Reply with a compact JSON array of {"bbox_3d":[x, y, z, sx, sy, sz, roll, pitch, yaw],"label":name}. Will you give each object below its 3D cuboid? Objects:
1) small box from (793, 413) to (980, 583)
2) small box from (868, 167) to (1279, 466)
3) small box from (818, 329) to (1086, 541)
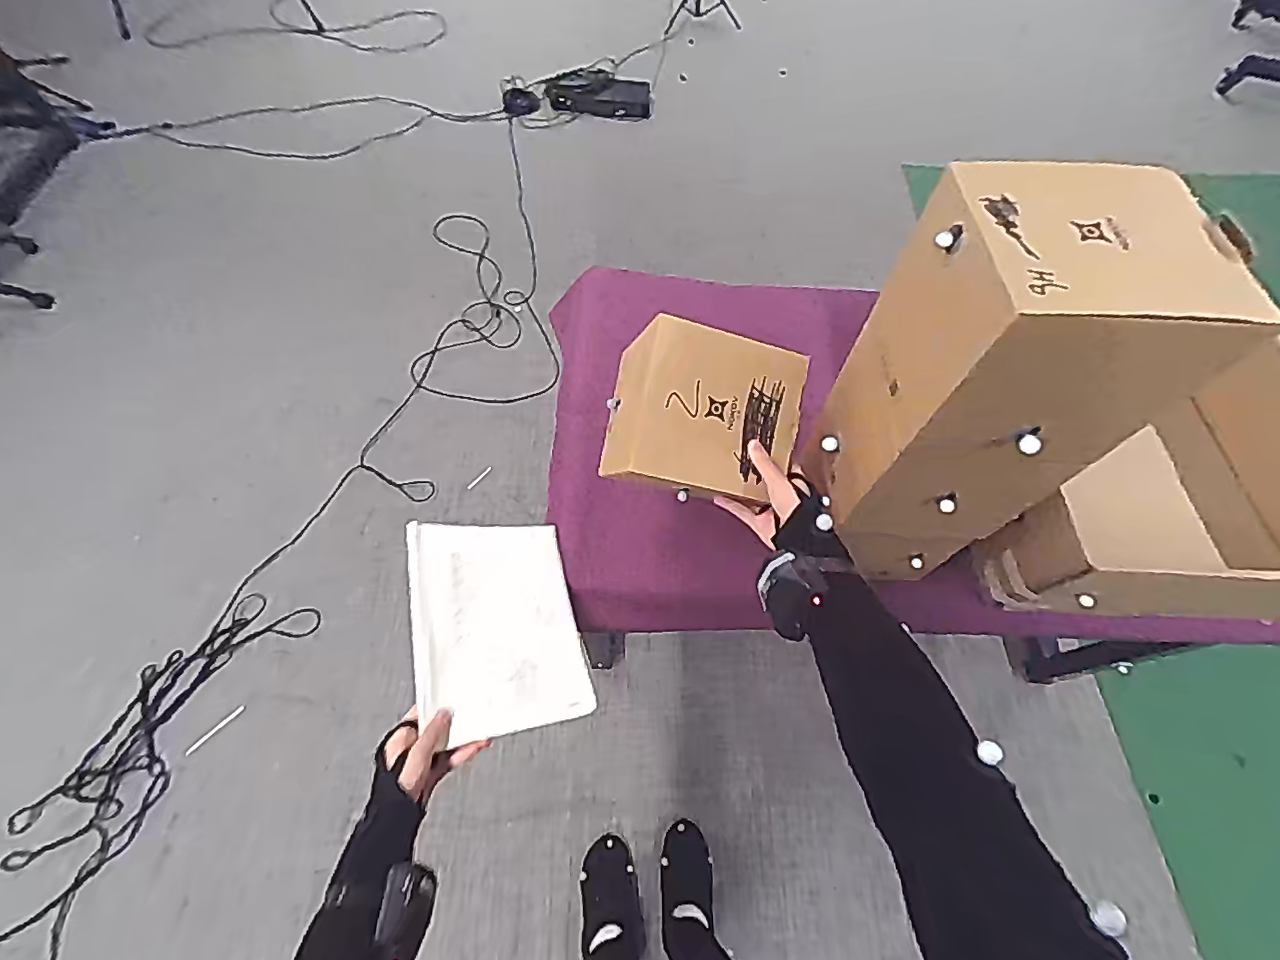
[{"bbox_3d":[0.317,0.031,0.736,0.168,0.176,0.179,3,59,0],"label":"small box"},{"bbox_3d":[0.318,-0.124,0.446,0.179,0.176,0.168,3,59,-1],"label":"small box"},{"bbox_3d":[0.314,-0.042,0.589,0.179,0.176,0.168,3,59,0],"label":"small box"}]
